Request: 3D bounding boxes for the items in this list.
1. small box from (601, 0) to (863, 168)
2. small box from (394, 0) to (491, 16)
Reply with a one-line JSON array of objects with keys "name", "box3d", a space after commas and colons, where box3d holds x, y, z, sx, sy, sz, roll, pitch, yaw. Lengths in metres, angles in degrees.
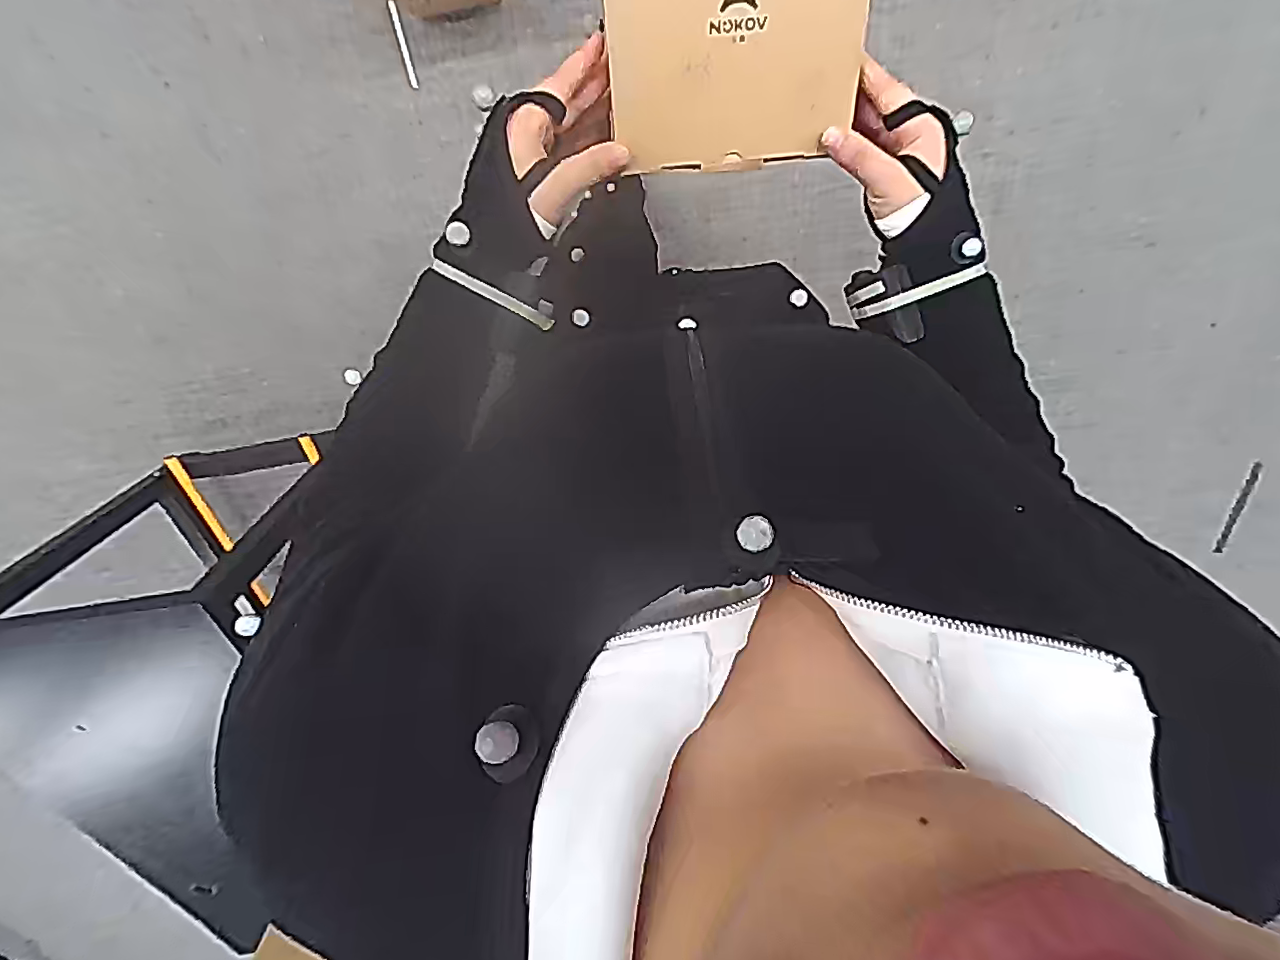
[{"name": "small box", "box3d": [0.055, -0.350, 0.397, 0.168, 0.176, 0.179, -5, 130, 0]}, {"name": "small box", "box3d": [-0.361, -0.950, 0.949, 0.179, 0.176, 0.168, -9, 121, 3]}]
